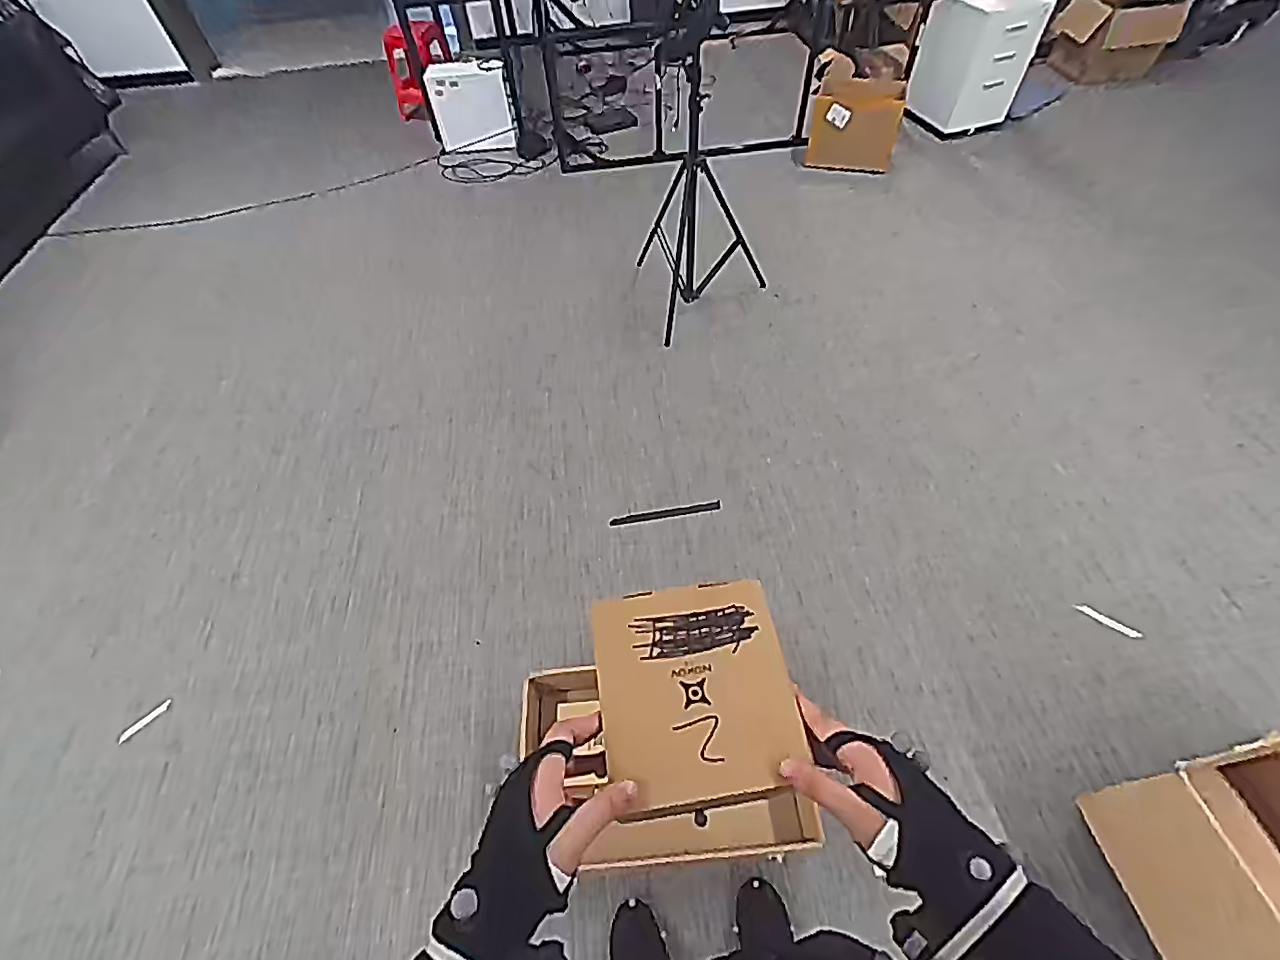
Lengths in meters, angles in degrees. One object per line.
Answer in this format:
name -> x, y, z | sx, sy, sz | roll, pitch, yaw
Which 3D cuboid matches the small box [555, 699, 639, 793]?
small box -> -0.095, 0.614, 1.242 | 0.179, 0.176, 0.168 | -4, 56, -2
